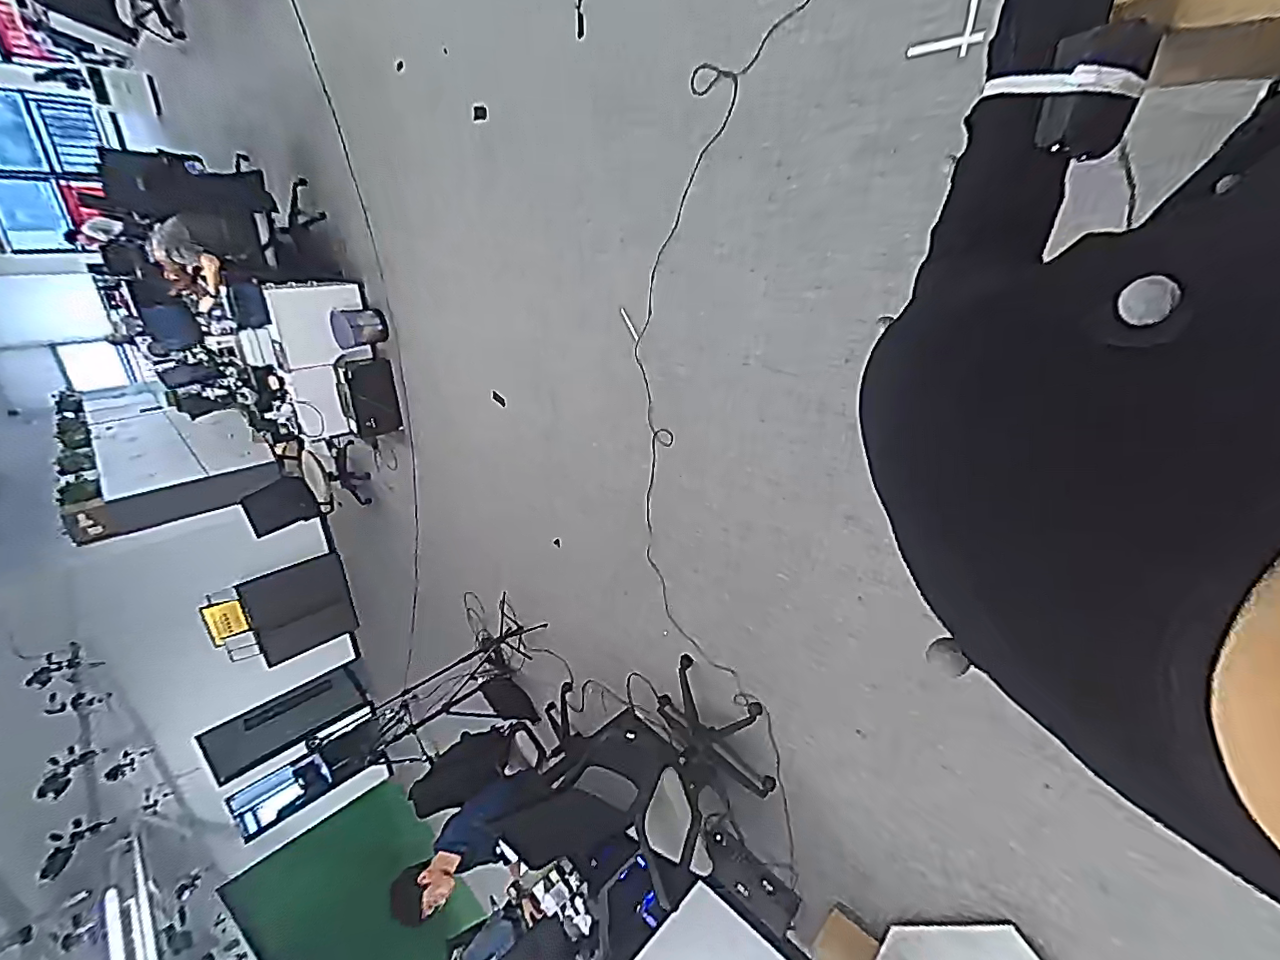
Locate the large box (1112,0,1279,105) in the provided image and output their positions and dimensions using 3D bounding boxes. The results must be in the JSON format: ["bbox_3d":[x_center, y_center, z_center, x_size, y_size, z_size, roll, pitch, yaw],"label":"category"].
[{"bbox_3d":[0.546,-0.408,0.266,0.408,0.320,0.320,21,126,36],"label":"large box"}]
